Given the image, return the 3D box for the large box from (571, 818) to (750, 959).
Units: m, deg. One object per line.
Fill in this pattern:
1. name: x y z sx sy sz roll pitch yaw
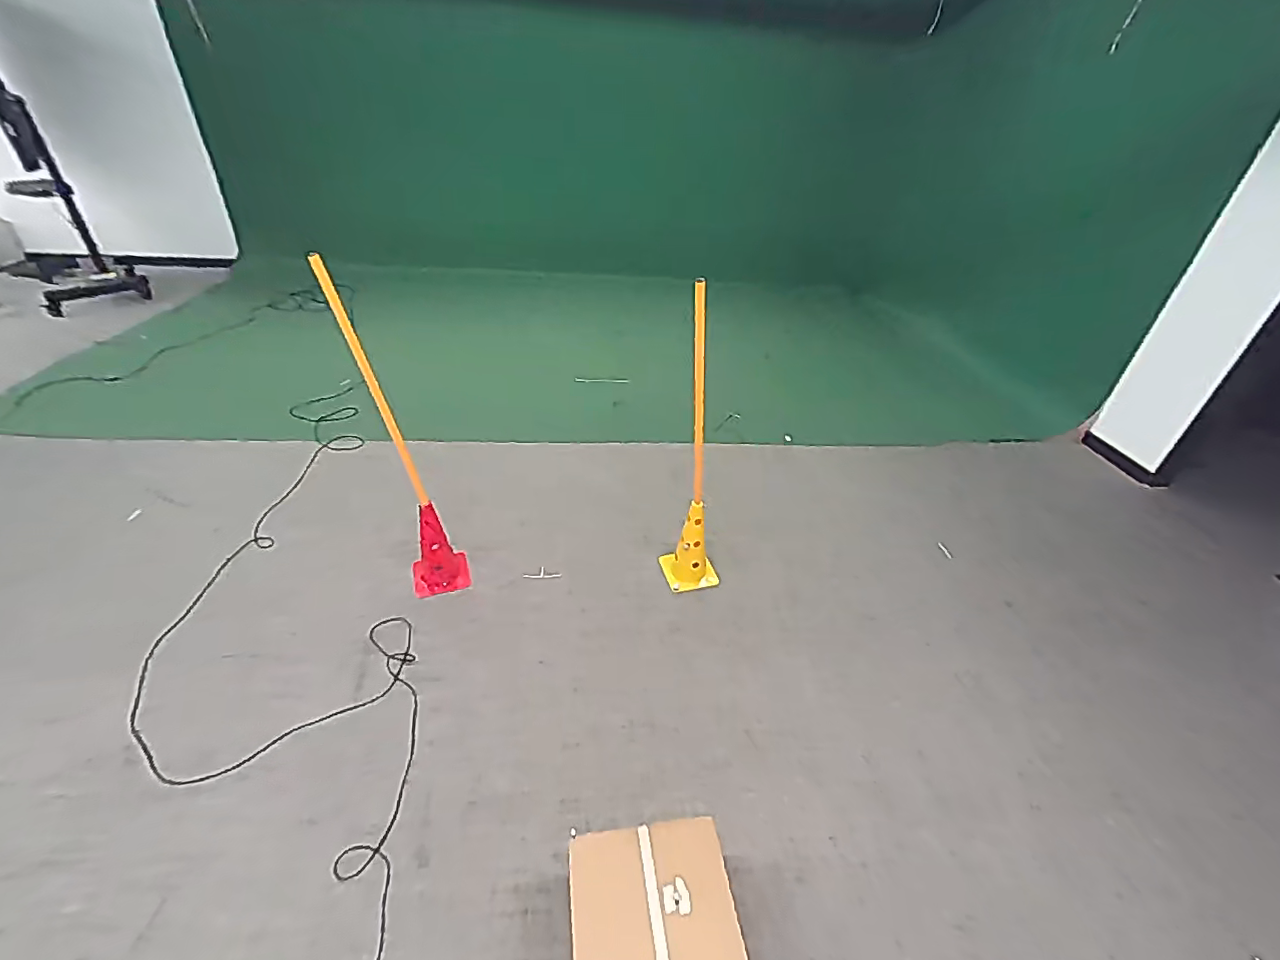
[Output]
1. large box: 0.033 0.973 1.068 0.320 0.320 0.408 -2 34 -9
